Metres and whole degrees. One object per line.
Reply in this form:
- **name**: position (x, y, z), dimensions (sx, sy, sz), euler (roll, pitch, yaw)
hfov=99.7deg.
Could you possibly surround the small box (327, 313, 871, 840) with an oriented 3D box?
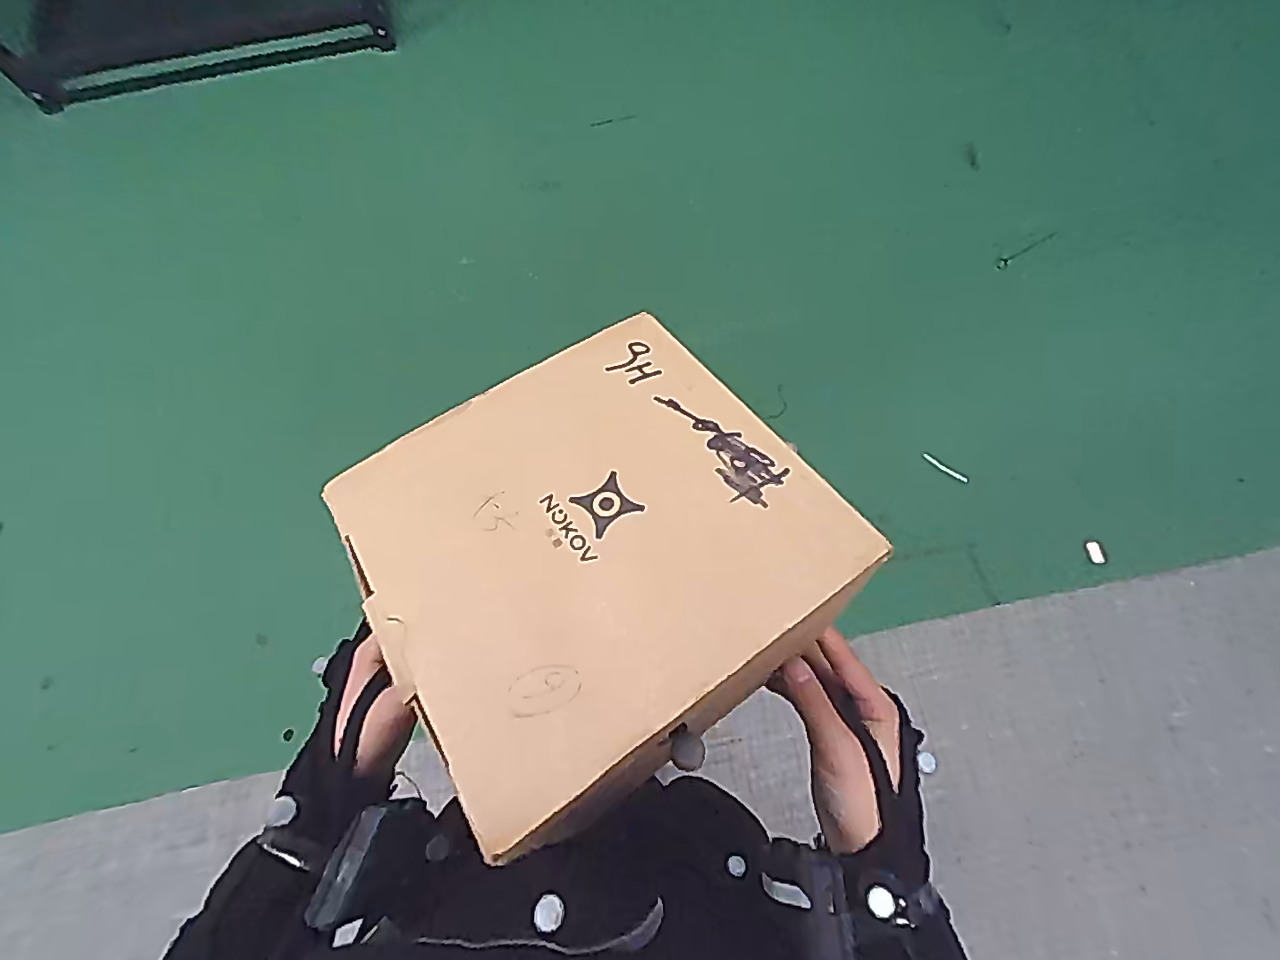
- **small box**: position (-0.018, 0.054, 0.290), dimensions (0.179, 0.176, 0.168), euler (-33, 62, -14)
